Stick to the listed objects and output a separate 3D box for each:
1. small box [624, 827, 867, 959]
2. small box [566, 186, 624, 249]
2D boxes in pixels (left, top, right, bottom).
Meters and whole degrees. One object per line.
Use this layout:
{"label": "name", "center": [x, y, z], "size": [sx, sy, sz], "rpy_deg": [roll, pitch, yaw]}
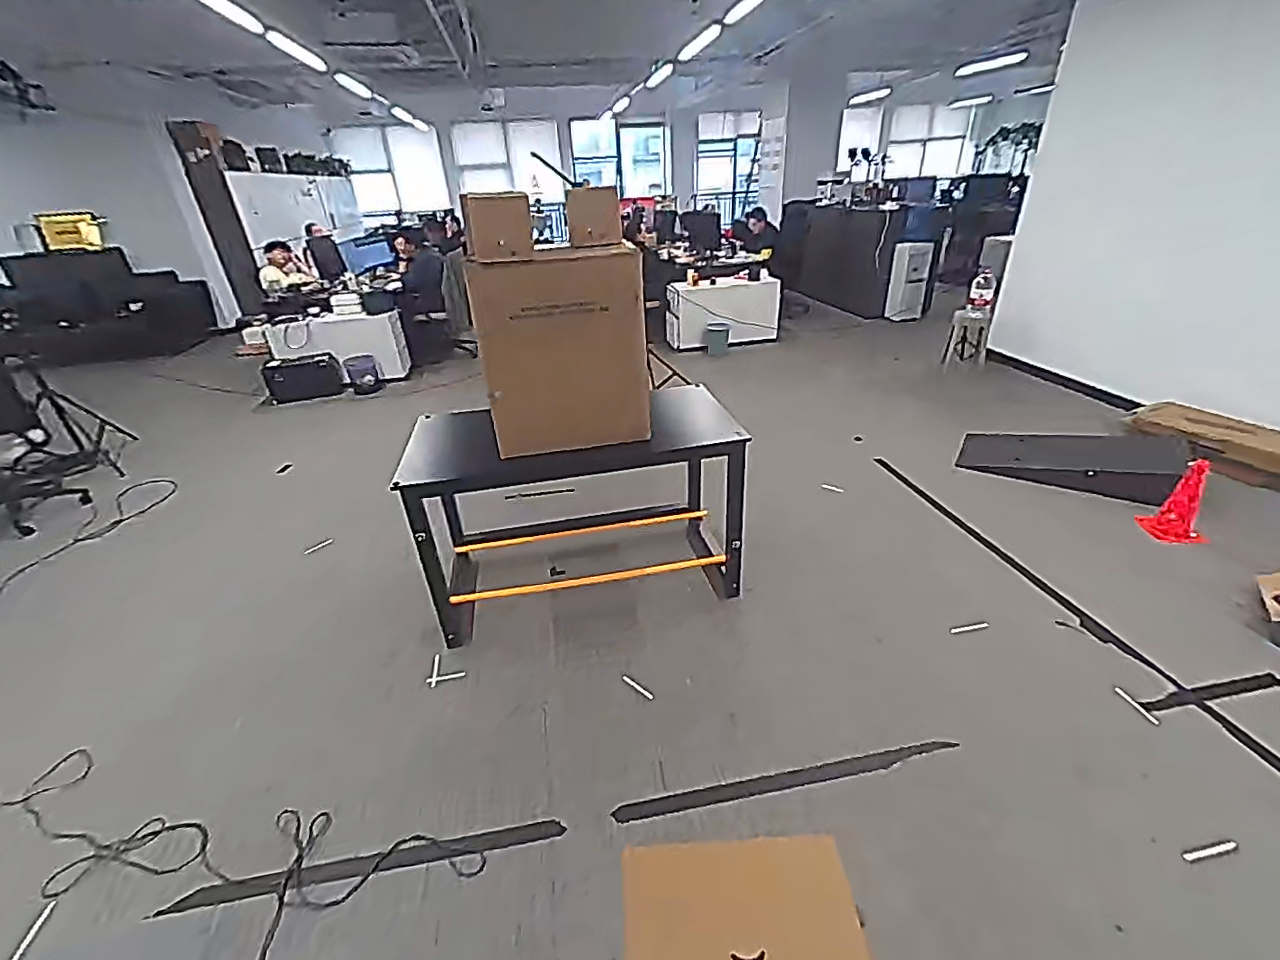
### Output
{"label": "small box", "center": [0.072, 0.391, 0.404], "size": [0.168, 0.176, 0.179], "rpy_deg": [-3, 39, -1]}
{"label": "small box", "center": [-0.148, -0.856, 1.763], "size": [0.168, 0.176, 0.179], "rpy_deg": [-9, 29, -5]}
